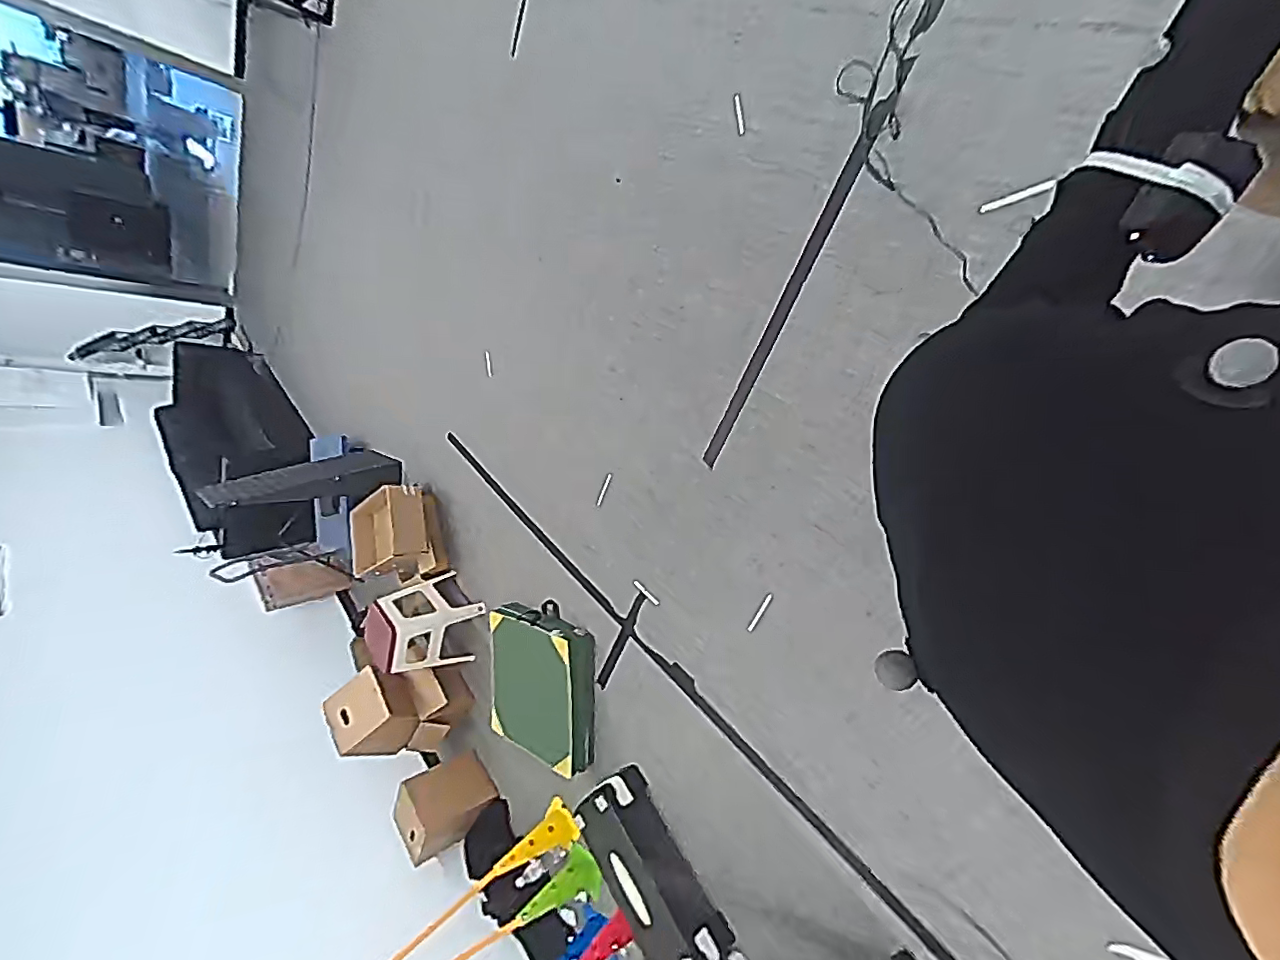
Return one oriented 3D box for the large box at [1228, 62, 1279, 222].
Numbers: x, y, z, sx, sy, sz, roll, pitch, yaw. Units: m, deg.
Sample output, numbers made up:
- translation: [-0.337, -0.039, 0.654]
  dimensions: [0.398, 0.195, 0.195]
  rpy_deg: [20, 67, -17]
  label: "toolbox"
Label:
- translation: [0.655, -0.265, 0.265]
  dimensions: [0.408, 0.320, 0.320]
  rpy_deg: [43, 127, 32]
  label: "large box"
